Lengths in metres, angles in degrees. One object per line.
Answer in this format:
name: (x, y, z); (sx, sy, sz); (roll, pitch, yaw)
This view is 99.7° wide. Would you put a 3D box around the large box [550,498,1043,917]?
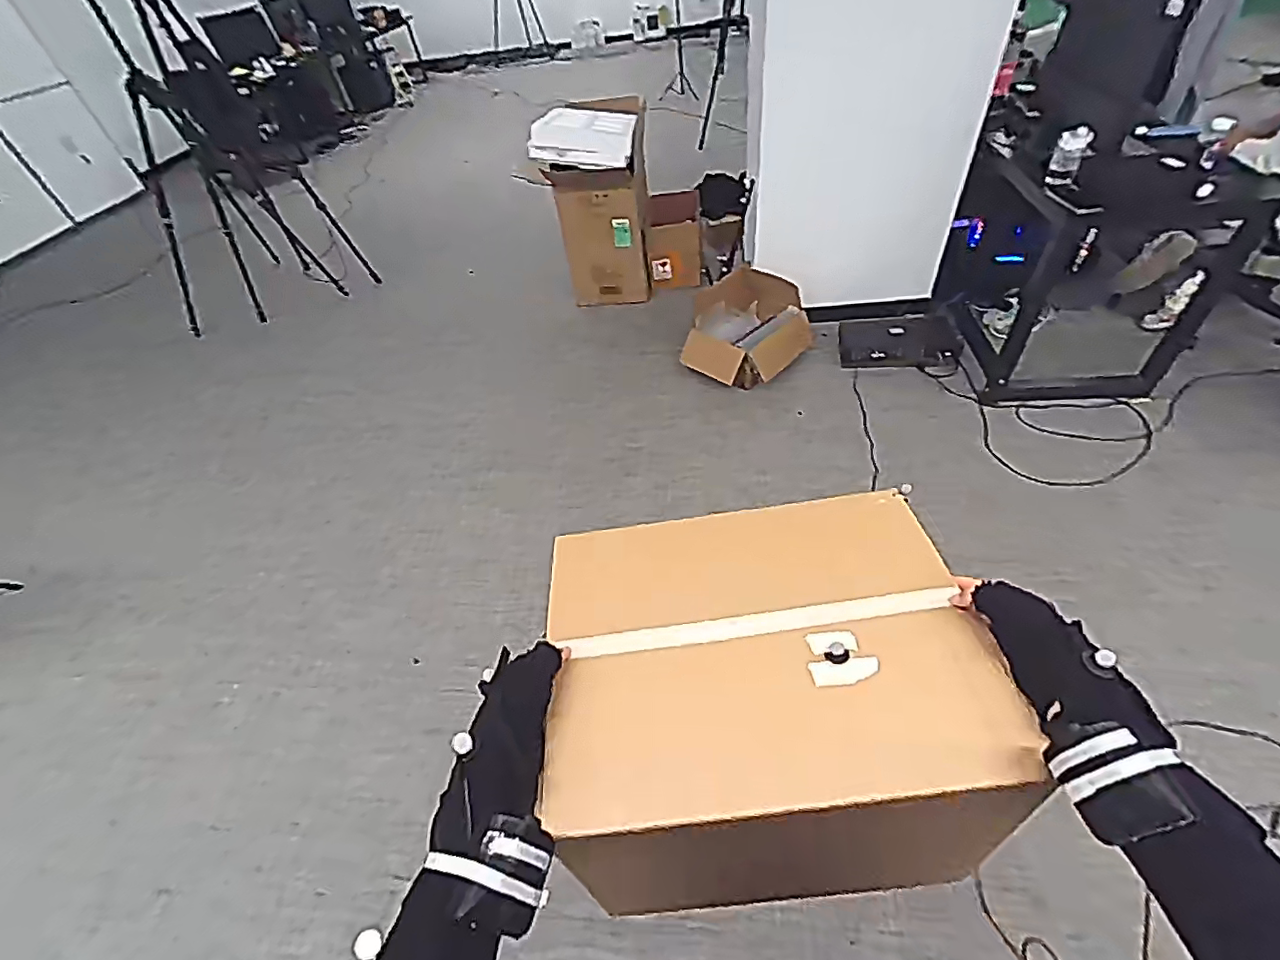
large box: (0.130, 0.263, 0.634); (0.408, 0.320, 0.320); (-9, 41, 2)
